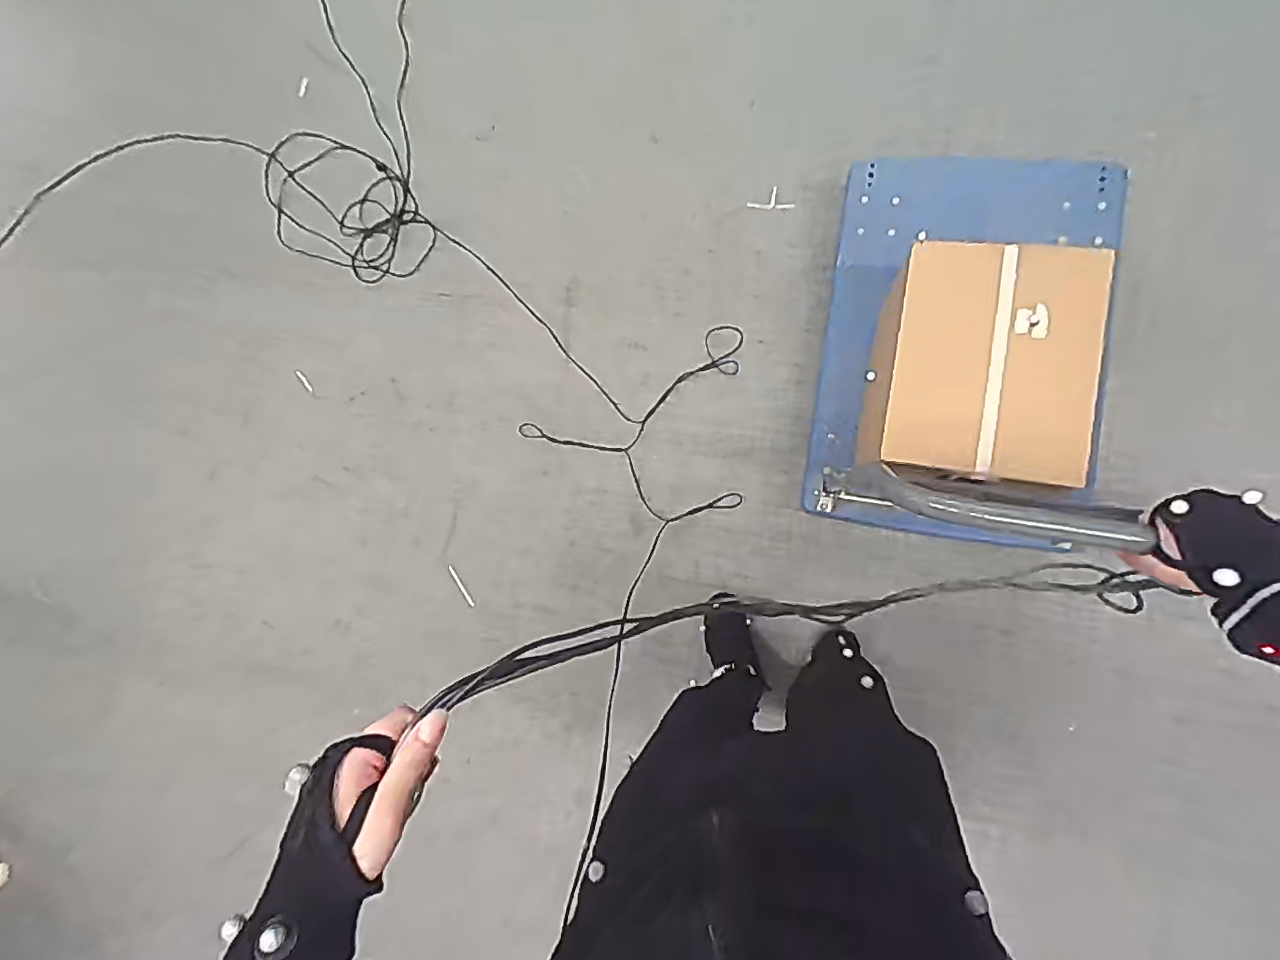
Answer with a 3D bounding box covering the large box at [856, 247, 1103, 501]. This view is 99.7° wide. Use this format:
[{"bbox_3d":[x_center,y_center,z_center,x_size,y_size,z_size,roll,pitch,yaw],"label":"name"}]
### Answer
[{"bbox_3d":[0.631,-0.187,1.068,0.320,0.320,0.408,9,85,13],"label":"large box"}]
